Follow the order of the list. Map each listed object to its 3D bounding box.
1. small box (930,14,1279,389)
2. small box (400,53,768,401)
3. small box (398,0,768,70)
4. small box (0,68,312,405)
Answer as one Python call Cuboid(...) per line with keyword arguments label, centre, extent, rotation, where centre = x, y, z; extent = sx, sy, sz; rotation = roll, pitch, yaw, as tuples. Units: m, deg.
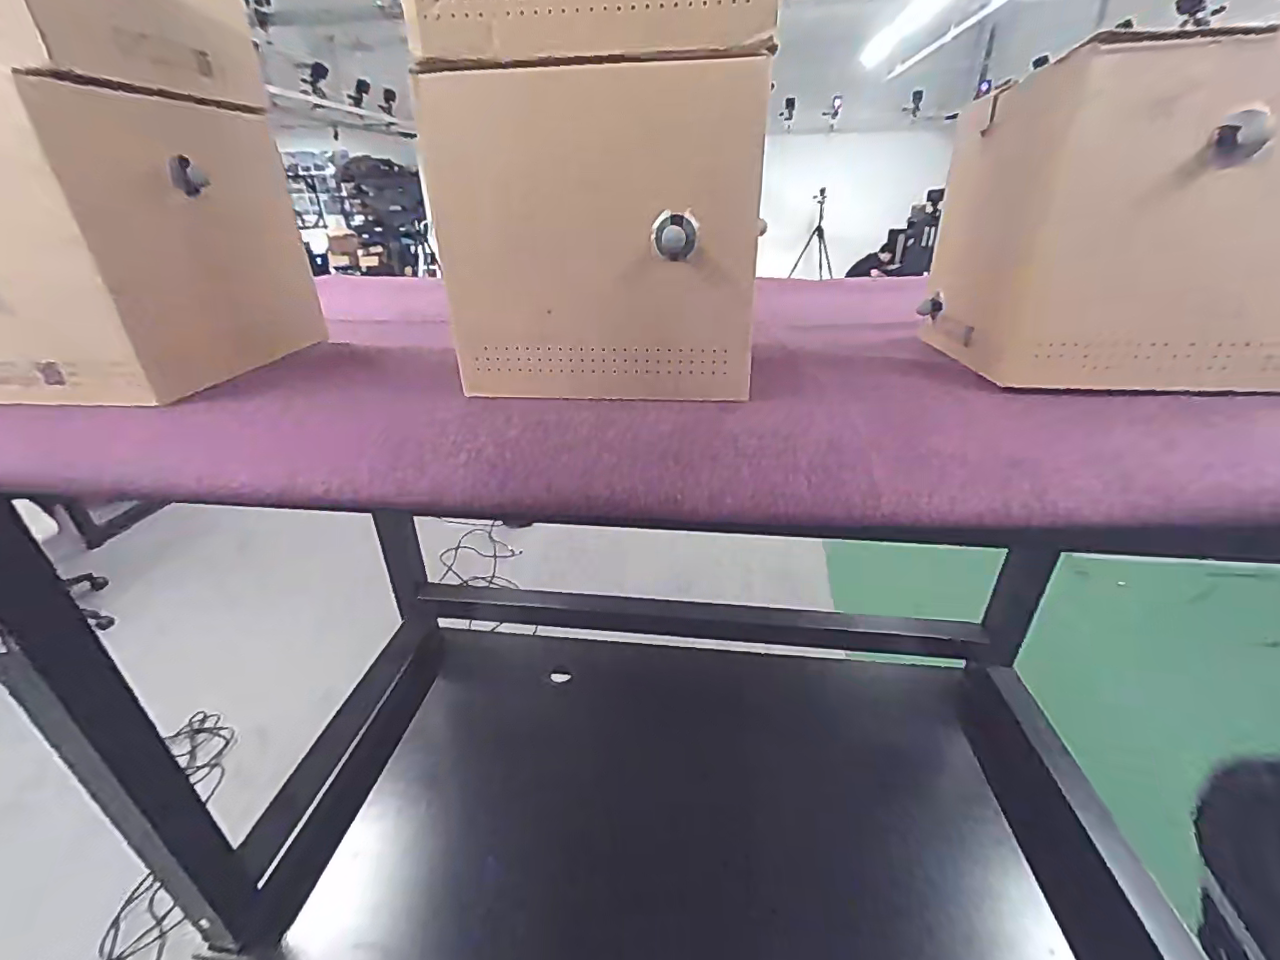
Cuboid(label="small box", centre=(0.304, -0.159, 0.340), extent=(0.179, 0.176, 0.168), rotation=(3, 26, 8))
Cuboid(label="small box", centre=(-0.019, -0.155, 0.355), extent=(0.179, 0.176, 0.168), rotation=(0, 27, 6))
Cuboid(label="small box", centre=(-0.025, -0.301, 0.283), extent=(0.179, 0.176, 0.168), rotation=(1, 27, 4))
Cuboid(label="small box", centre=(-0.362, -0.156, 0.364), extent=(0.168, 0.176, 0.179), rotation=(2, 29, 4))
